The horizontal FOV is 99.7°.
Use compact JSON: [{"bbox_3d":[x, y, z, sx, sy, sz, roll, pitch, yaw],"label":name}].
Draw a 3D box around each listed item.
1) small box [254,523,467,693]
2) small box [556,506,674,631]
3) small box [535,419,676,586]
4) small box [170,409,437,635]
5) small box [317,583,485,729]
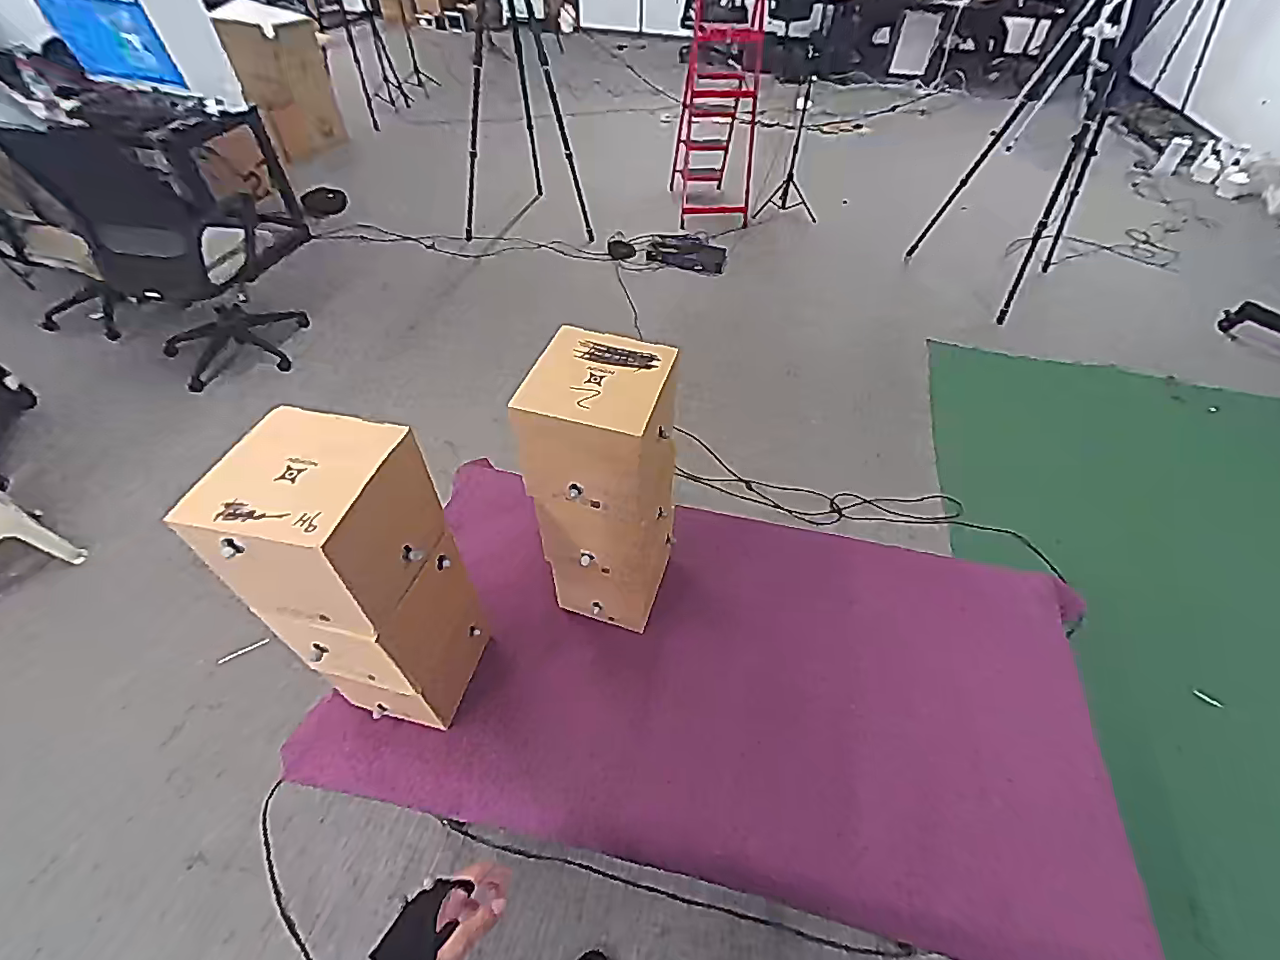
[{"bbox_3d":[-0.355,0.162,0.732,0.168,0.176,0.179,11,47,9],"label":"small box"},{"bbox_3d":[-0.045,0.141,0.976,0.168,0.176,0.179,15,51,11],"label":"small box"},{"bbox_3d":[-0.048,0.035,0.850,0.168,0.176,0.179,13,50,10],"label":"small box"},{"bbox_3d":[-0.352,0.046,0.614,0.168,0.176,0.179,9,47,8],"label":"small box"},{"bbox_3d":[-0.361,0.264,0.857,0.168,0.176,0.179,11,49,8],"label":"small box"}]
